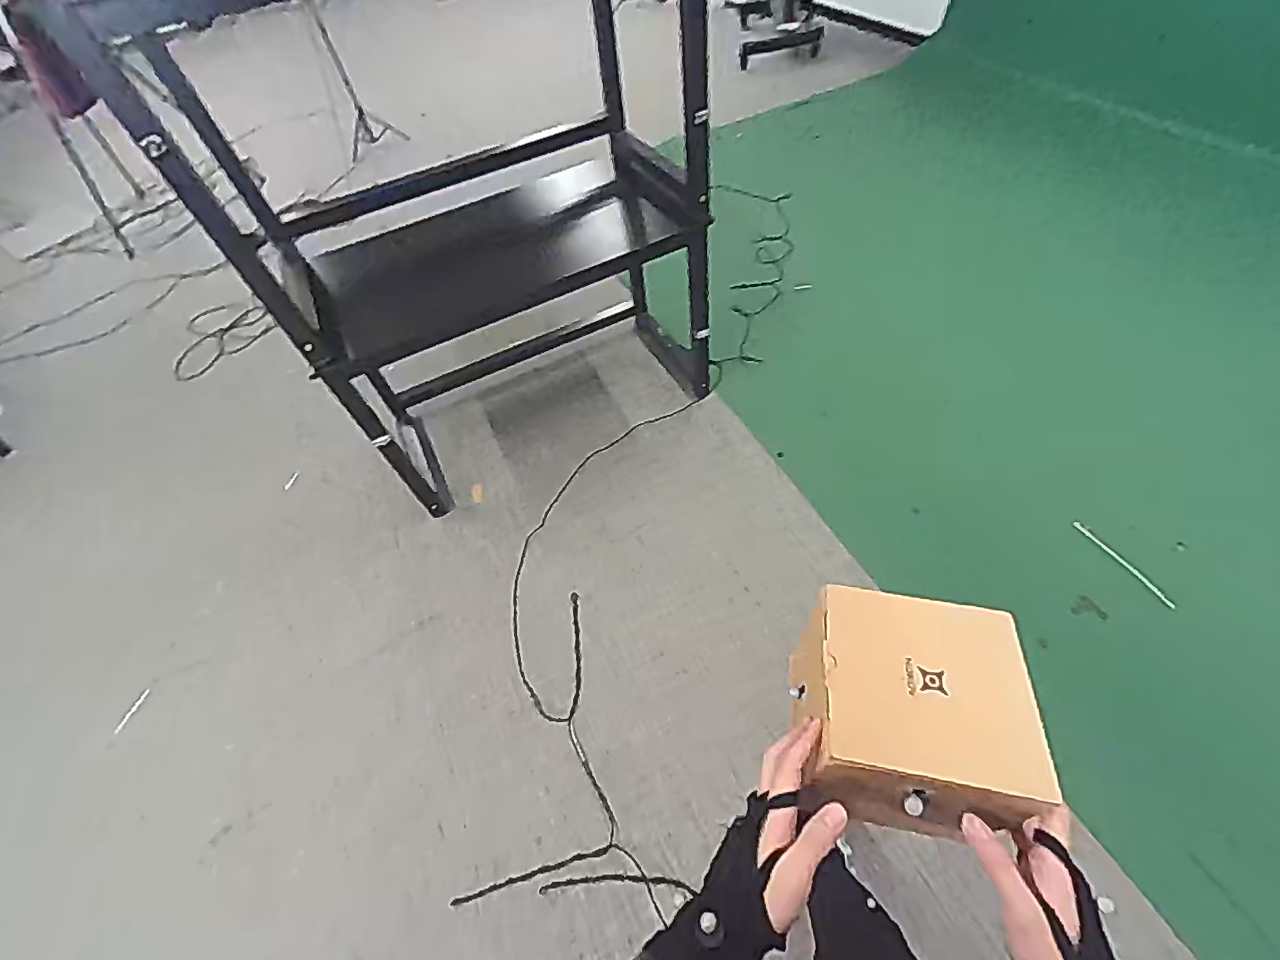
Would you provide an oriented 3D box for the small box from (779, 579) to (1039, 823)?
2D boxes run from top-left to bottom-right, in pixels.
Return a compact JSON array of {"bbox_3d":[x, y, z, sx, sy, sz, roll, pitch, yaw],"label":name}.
[{"bbox_3d":[0.245,0.224,0.543,0.179,0.176,0.168,7,47,9],"label":"small box"}]
